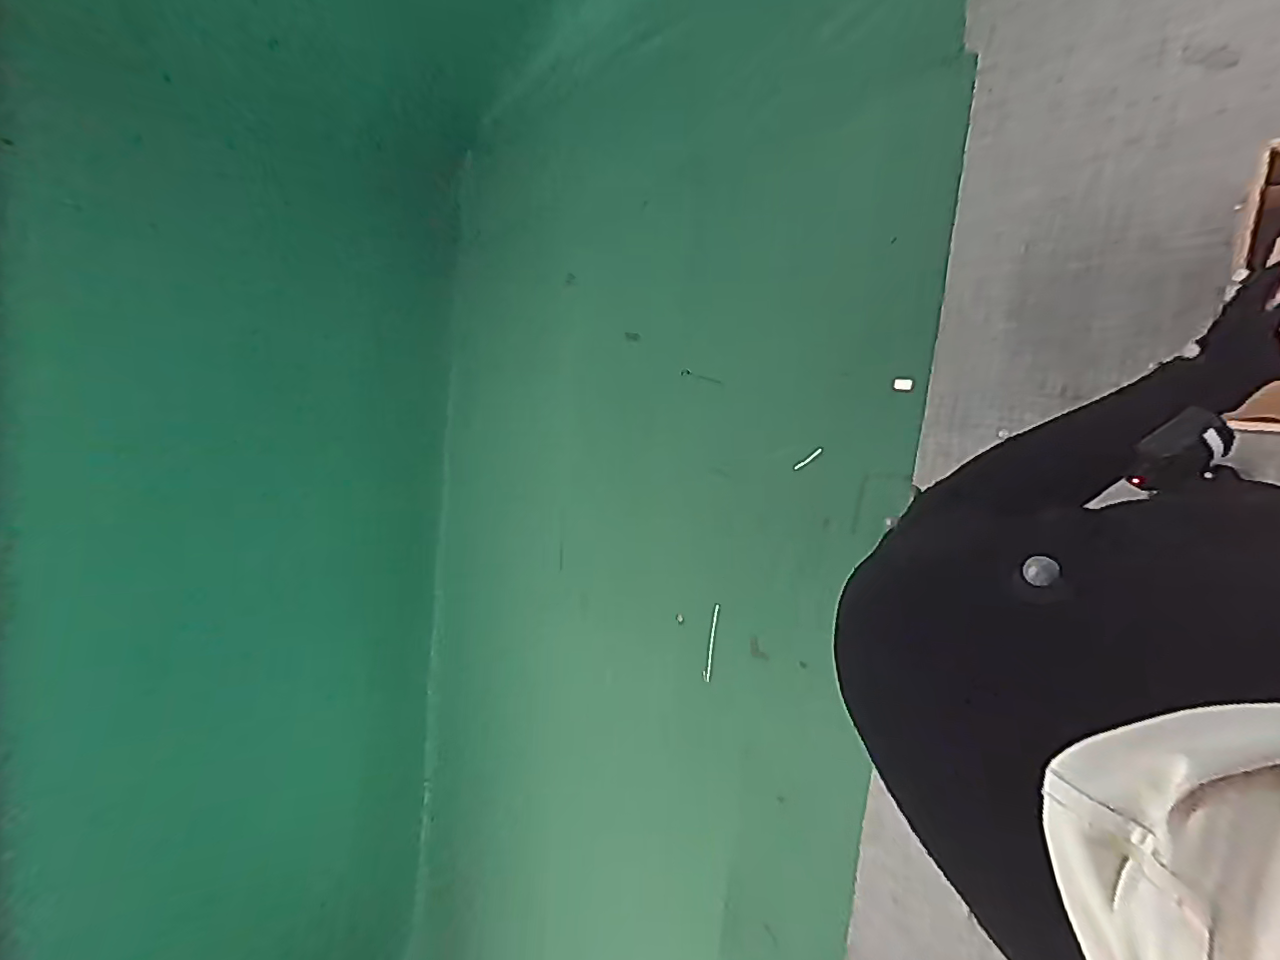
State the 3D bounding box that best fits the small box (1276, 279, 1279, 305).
[{"bbox_3d":[0.974,-0.326,0.700,0.168,0.176,0.179,14,100,45],"label":"small box"}]
